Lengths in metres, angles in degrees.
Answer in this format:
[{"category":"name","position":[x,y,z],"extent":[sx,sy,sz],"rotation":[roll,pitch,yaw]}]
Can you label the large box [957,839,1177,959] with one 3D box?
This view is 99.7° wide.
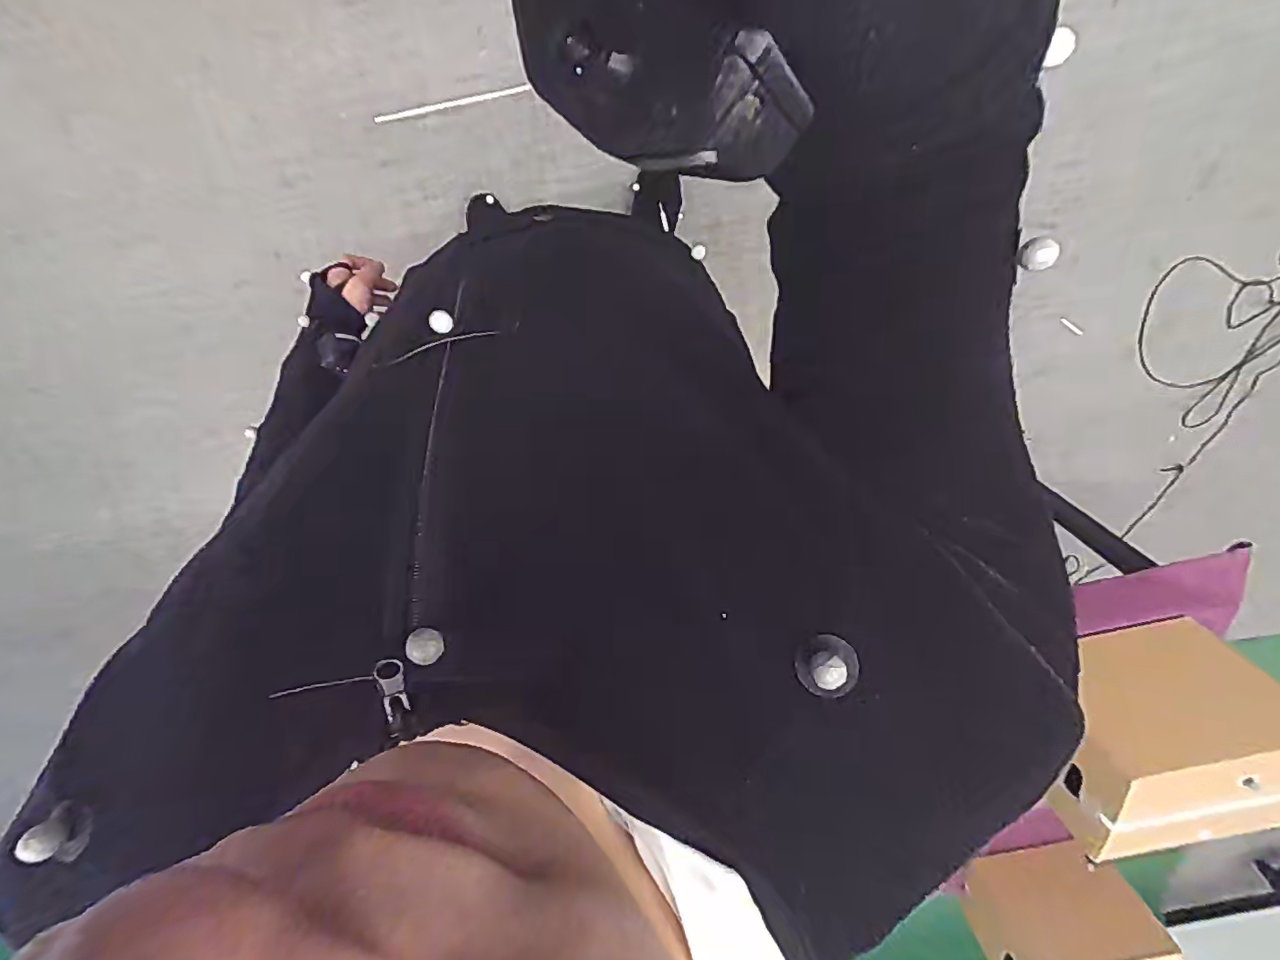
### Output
[{"category":"large box","position":[1.280,1.379,1.671],"extent":[0.408,0.320,0.320],"rotation":[-11,118,1]}]
